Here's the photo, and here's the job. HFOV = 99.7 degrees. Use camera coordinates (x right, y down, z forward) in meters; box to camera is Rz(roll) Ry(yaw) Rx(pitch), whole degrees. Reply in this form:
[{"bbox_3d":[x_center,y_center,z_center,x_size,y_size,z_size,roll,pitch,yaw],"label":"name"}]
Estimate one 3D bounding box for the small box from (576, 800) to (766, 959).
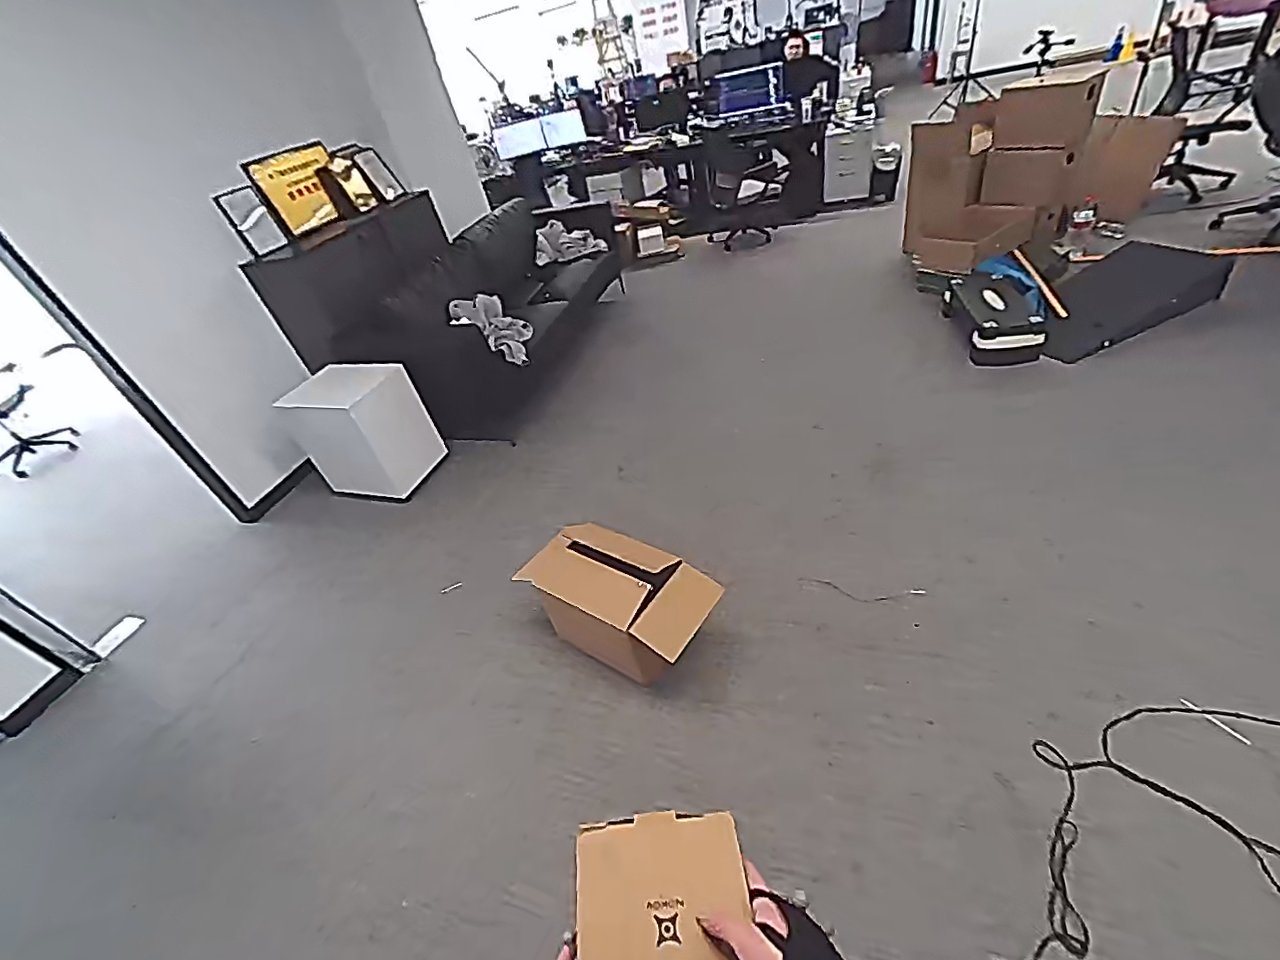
[{"bbox_3d":[0.023,0.449,0.540,0.168,0.176,0.179,-1,40,-3],"label":"small box"}]
